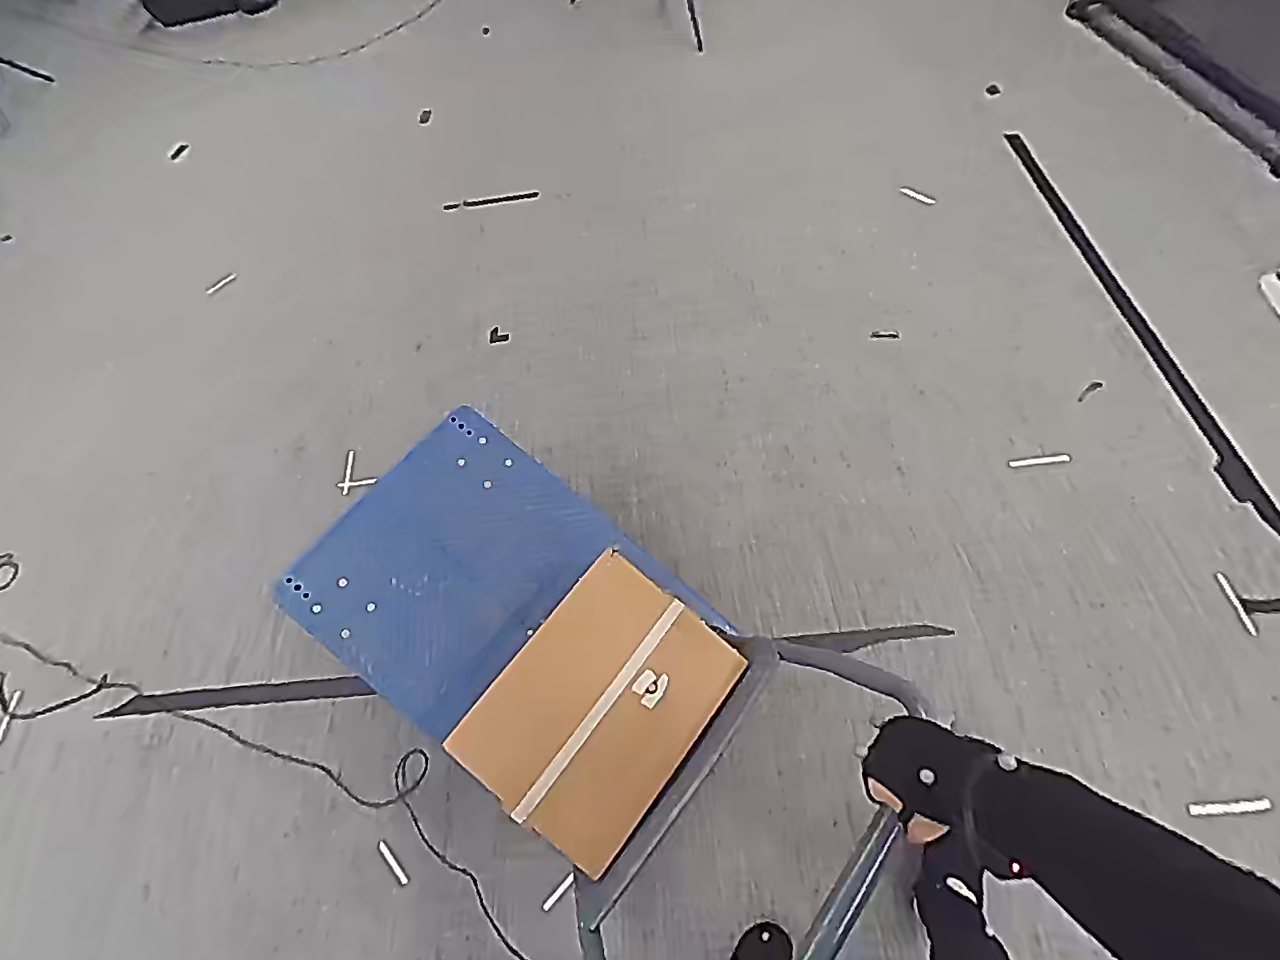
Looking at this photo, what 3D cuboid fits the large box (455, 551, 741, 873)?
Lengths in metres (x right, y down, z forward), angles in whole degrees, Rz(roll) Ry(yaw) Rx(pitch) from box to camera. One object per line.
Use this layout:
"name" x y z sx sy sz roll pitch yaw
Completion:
"large box" -0.079 0.405 1.031 0.320 0.320 0.408 39 73 2
